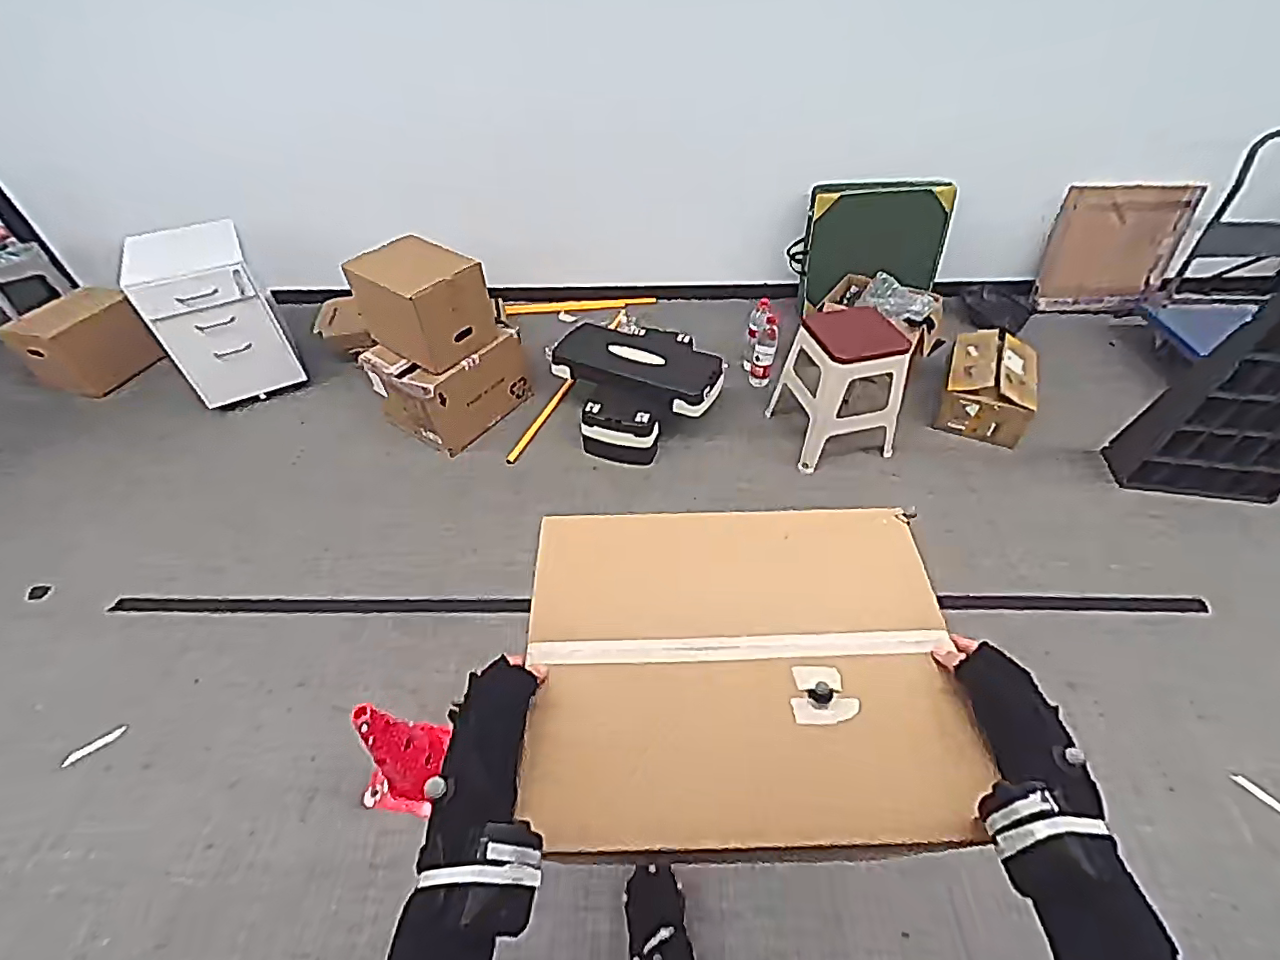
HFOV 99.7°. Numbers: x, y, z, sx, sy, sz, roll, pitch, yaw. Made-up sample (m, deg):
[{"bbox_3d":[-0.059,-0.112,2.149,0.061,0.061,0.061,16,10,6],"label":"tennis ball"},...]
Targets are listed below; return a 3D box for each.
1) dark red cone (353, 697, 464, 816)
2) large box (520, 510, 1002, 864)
[{"bbox_3d":[-0.553,0.588,1.210,0.201,0.394,0.202,5,47,5],"label":"dark red cone"},{"bbox_3d":[0.095,0.253,0.644,0.408,0.320,0.320,-2,53,0],"label":"large box"}]
